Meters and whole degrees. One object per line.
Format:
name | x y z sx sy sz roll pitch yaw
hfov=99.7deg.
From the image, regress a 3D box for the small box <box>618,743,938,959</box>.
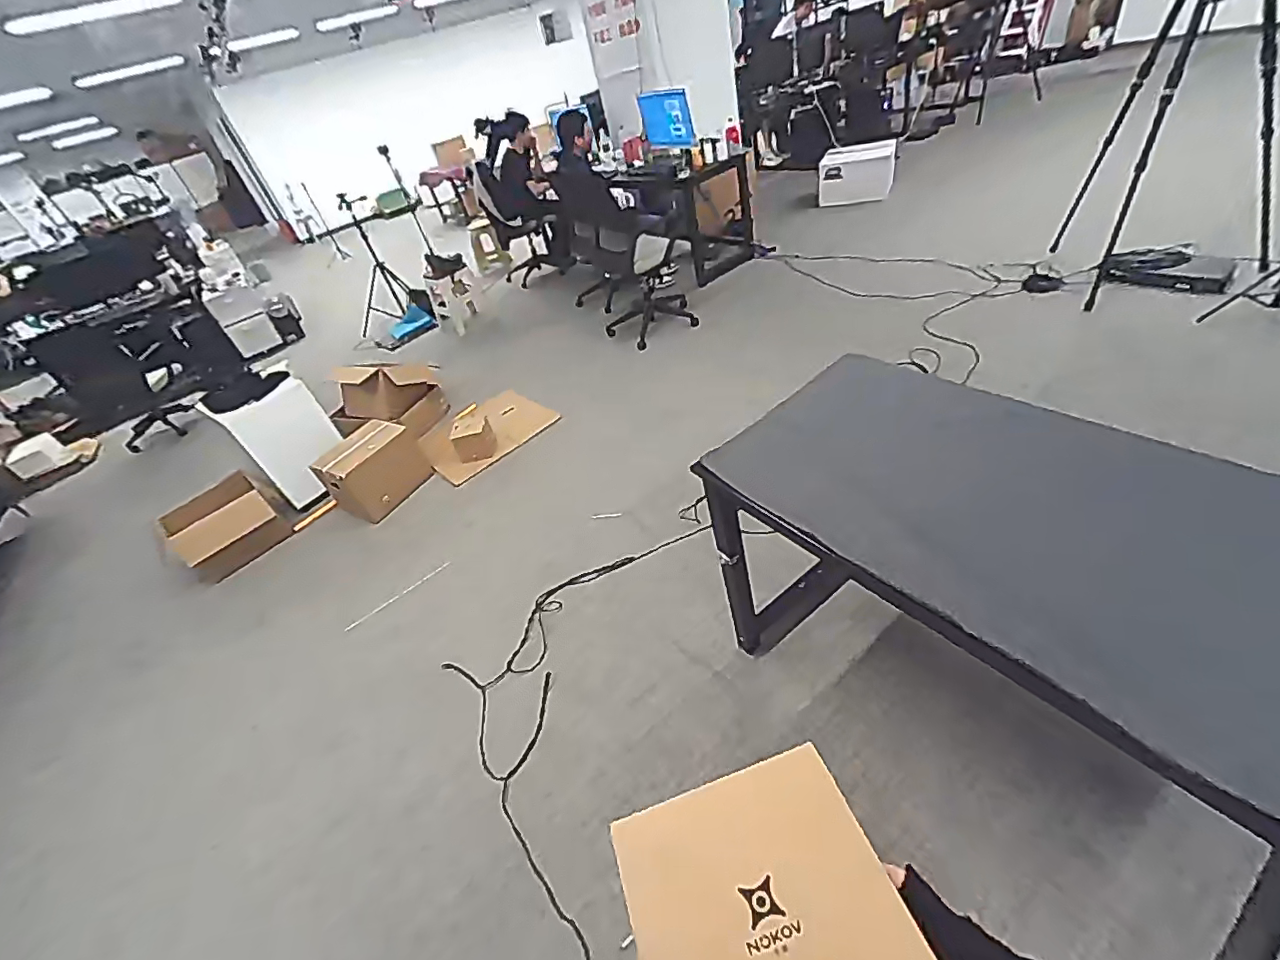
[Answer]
small box | 0.094 0.333 0.386 0.168 0.176 0.179 -18 38 -6
